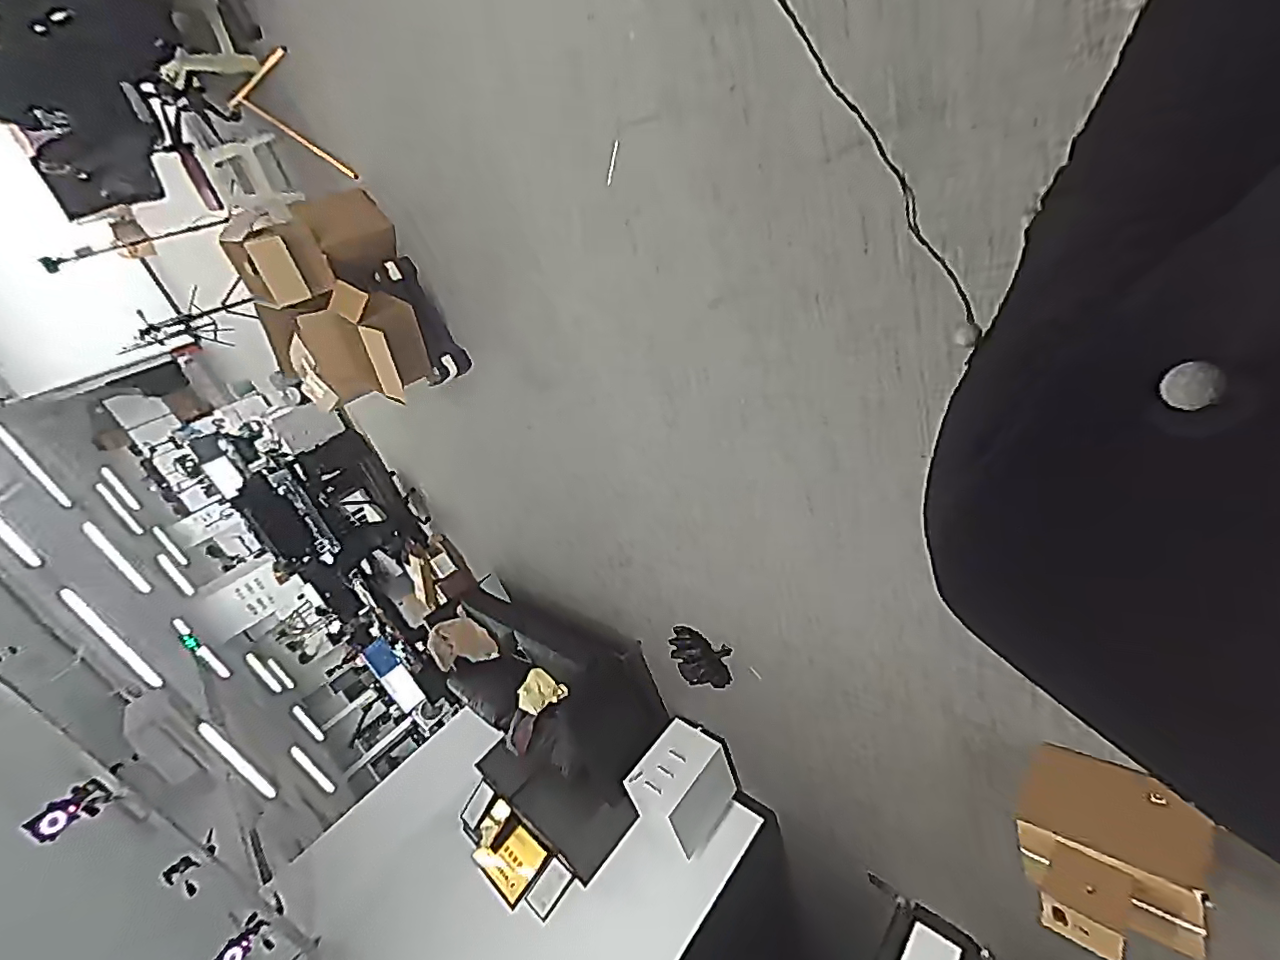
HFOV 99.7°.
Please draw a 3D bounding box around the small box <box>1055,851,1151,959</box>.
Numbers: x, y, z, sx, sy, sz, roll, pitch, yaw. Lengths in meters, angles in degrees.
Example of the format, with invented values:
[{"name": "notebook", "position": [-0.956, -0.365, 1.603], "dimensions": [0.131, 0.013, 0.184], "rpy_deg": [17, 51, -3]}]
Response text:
[{"name": "small box", "position": [1.272, 1.170, 1.488], "dimensions": [0.179, 0.176, 0.168], "rpy_deg": [7, 126, 46]}]
